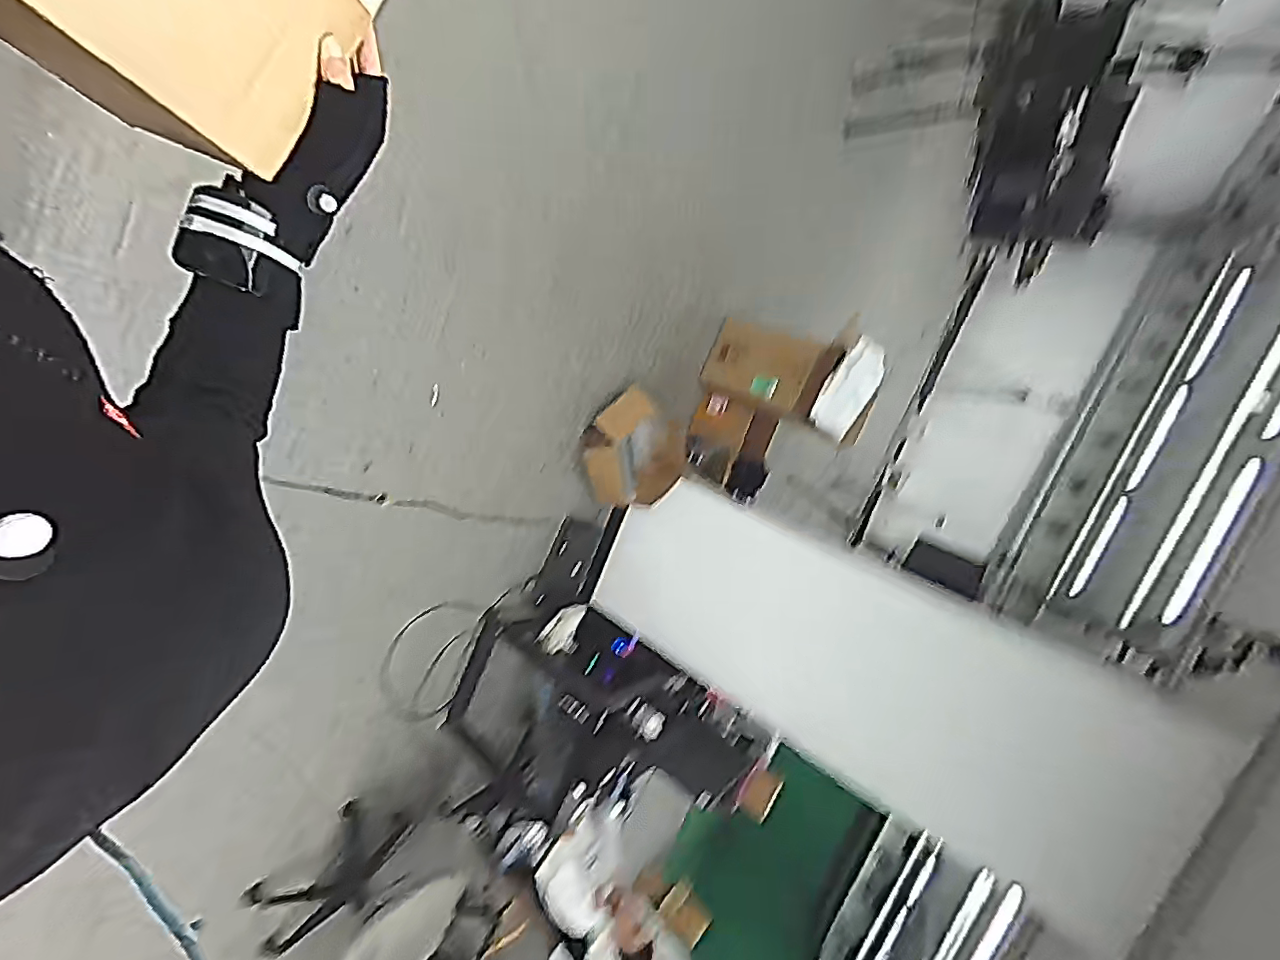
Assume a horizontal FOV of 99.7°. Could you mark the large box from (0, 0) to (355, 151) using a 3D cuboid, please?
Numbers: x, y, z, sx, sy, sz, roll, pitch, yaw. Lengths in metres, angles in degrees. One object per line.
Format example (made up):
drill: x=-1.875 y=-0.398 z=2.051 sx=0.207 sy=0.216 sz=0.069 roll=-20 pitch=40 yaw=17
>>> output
large box: x=-0.402 y=-0.482 z=0.297 sx=0.320 sy=0.320 sz=0.408 roll=-60 pitch=153 yaw=0
